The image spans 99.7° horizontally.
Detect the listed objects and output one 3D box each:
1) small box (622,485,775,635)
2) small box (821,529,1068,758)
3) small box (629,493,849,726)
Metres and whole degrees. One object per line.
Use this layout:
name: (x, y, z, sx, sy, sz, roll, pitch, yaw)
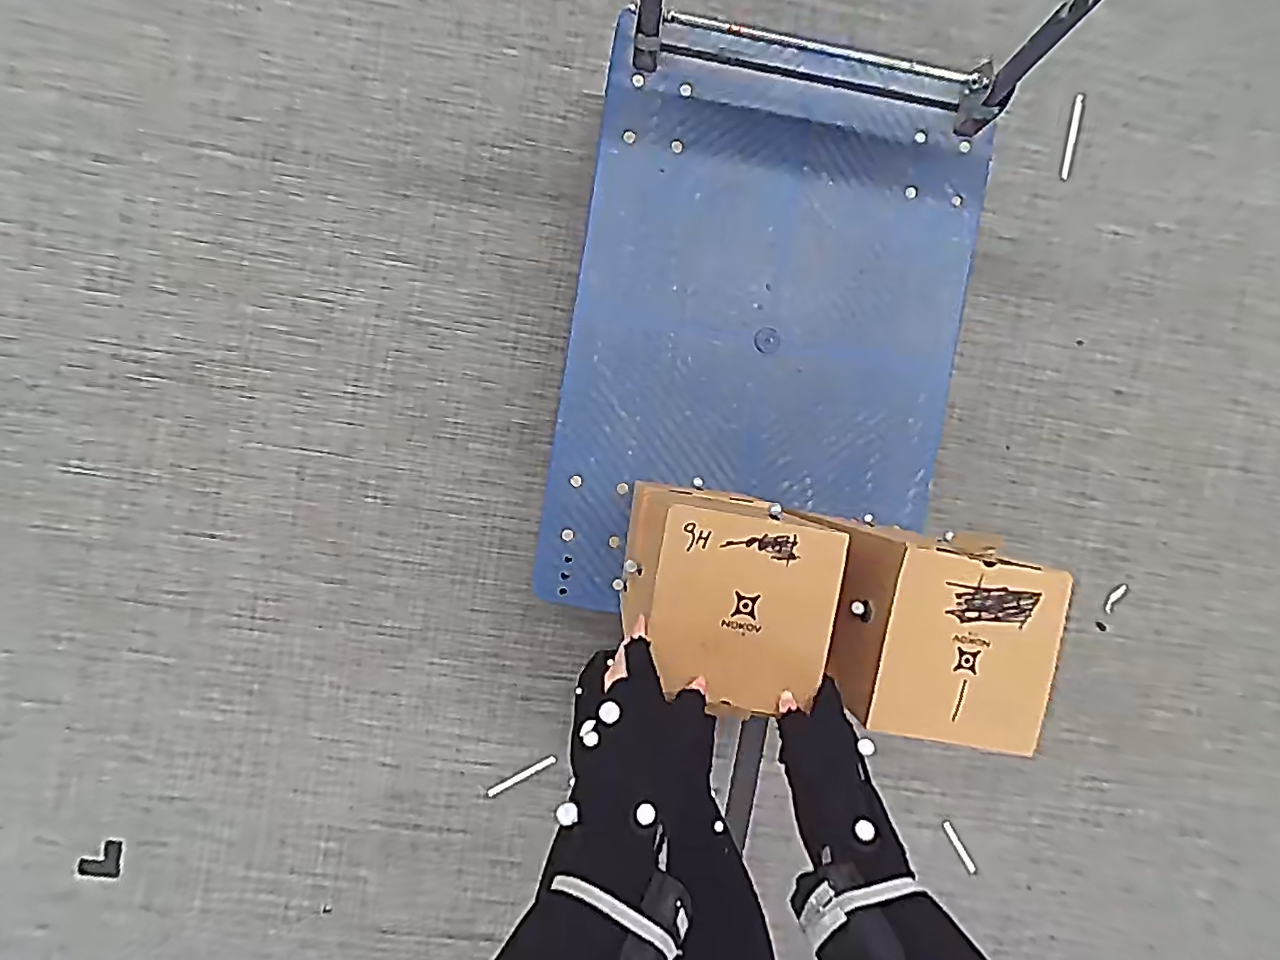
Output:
small box: (0.068, 0.106, 0.722, 0.168, 0.176, 0.179, 8, 91, -4)
small box: (0.293, 0.155, 0.573, 0.168, 0.176, 0.179, 11, 92, -4)
small box: (0.084, 0.118, 0.556, 0.168, 0.176, 0.179, 11, 93, -5)
